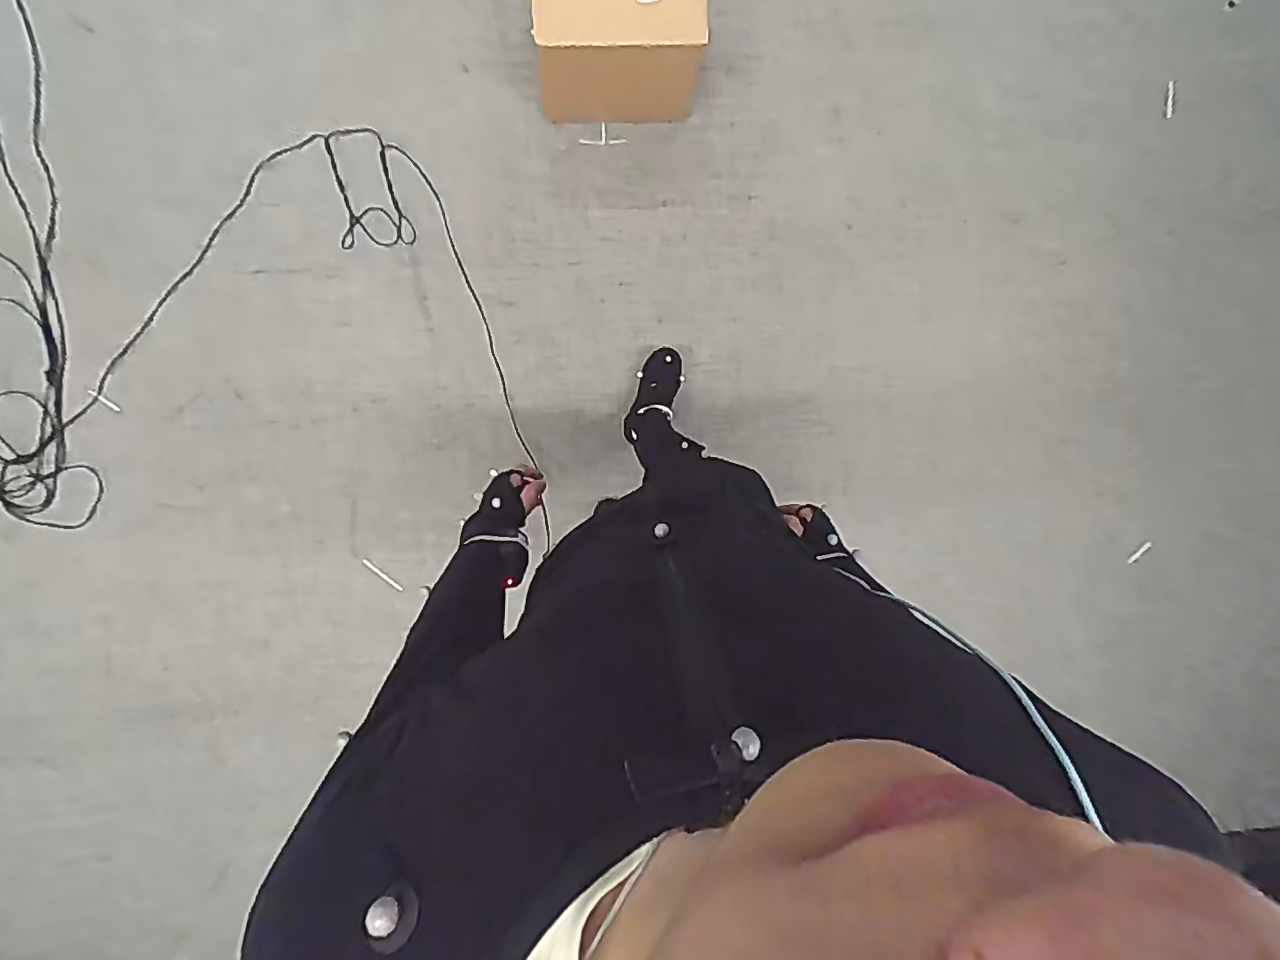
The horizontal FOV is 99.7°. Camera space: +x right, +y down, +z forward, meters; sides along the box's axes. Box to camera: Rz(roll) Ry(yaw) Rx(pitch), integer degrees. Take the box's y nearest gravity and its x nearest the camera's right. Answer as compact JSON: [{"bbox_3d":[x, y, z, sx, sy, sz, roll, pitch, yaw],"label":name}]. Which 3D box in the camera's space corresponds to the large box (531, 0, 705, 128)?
[{"bbox_3d":[-0.070,-1.163,1.398,0.408,0.320,0.320,-5,94,-5],"label":"large box"}]
